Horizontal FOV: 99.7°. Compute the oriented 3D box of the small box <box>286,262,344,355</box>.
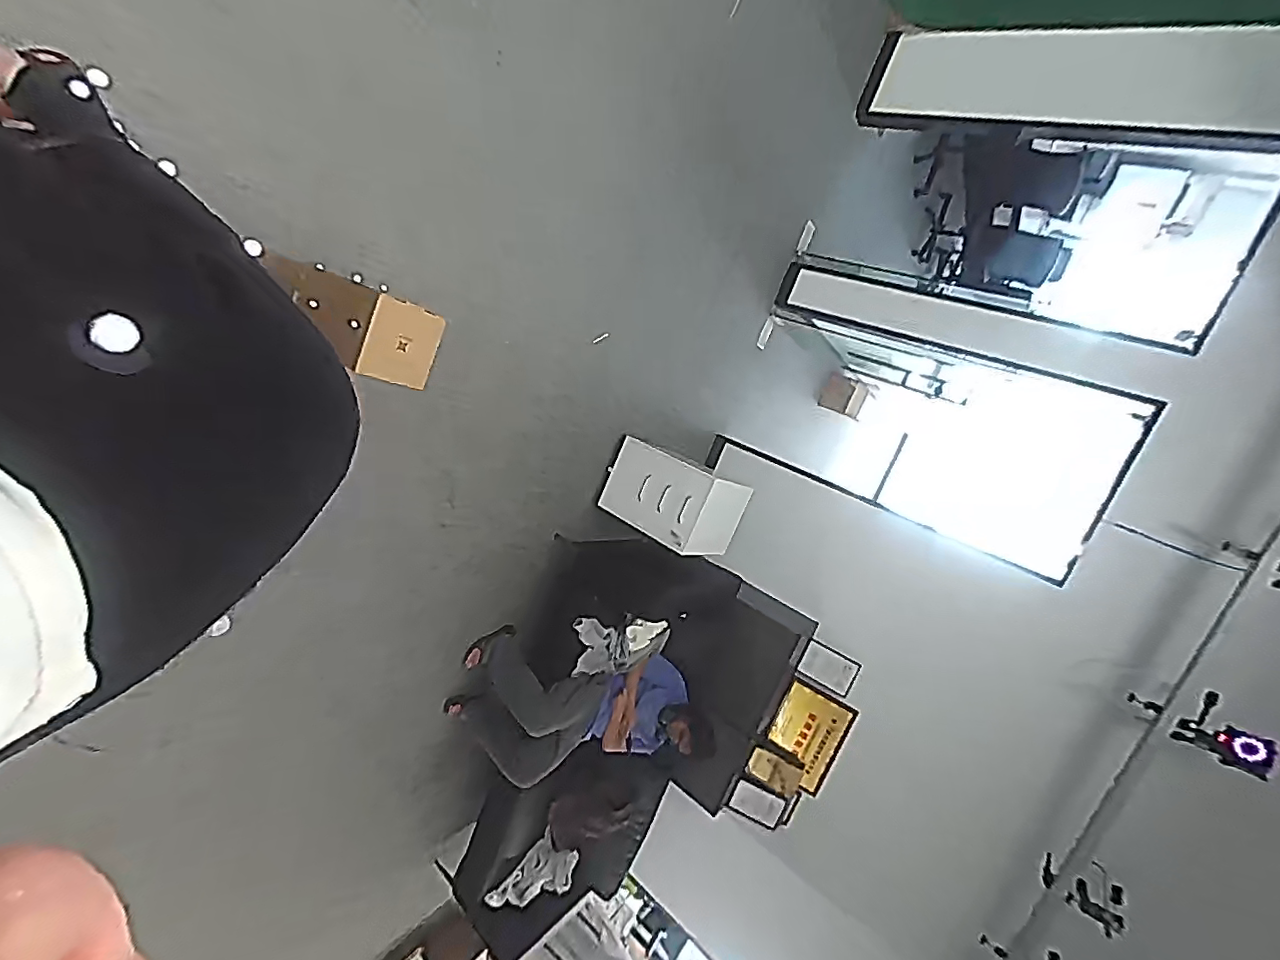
[{"bbox_3d":[-0.711,-0.392,1.292,0.168,0.176,0.179,6,108,-59],"label":"small box"}]

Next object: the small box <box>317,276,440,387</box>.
[{"bbox_3d":[-0.587,-0.332,1.208,0.168,0.176,0.179,8,109,-58],"label":"small box"}]

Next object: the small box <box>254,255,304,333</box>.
[{"bbox_3d":[-0.840,-0.453,1.375,0.179,0.176,0.168,9,107,-59],"label":"small box"}]
